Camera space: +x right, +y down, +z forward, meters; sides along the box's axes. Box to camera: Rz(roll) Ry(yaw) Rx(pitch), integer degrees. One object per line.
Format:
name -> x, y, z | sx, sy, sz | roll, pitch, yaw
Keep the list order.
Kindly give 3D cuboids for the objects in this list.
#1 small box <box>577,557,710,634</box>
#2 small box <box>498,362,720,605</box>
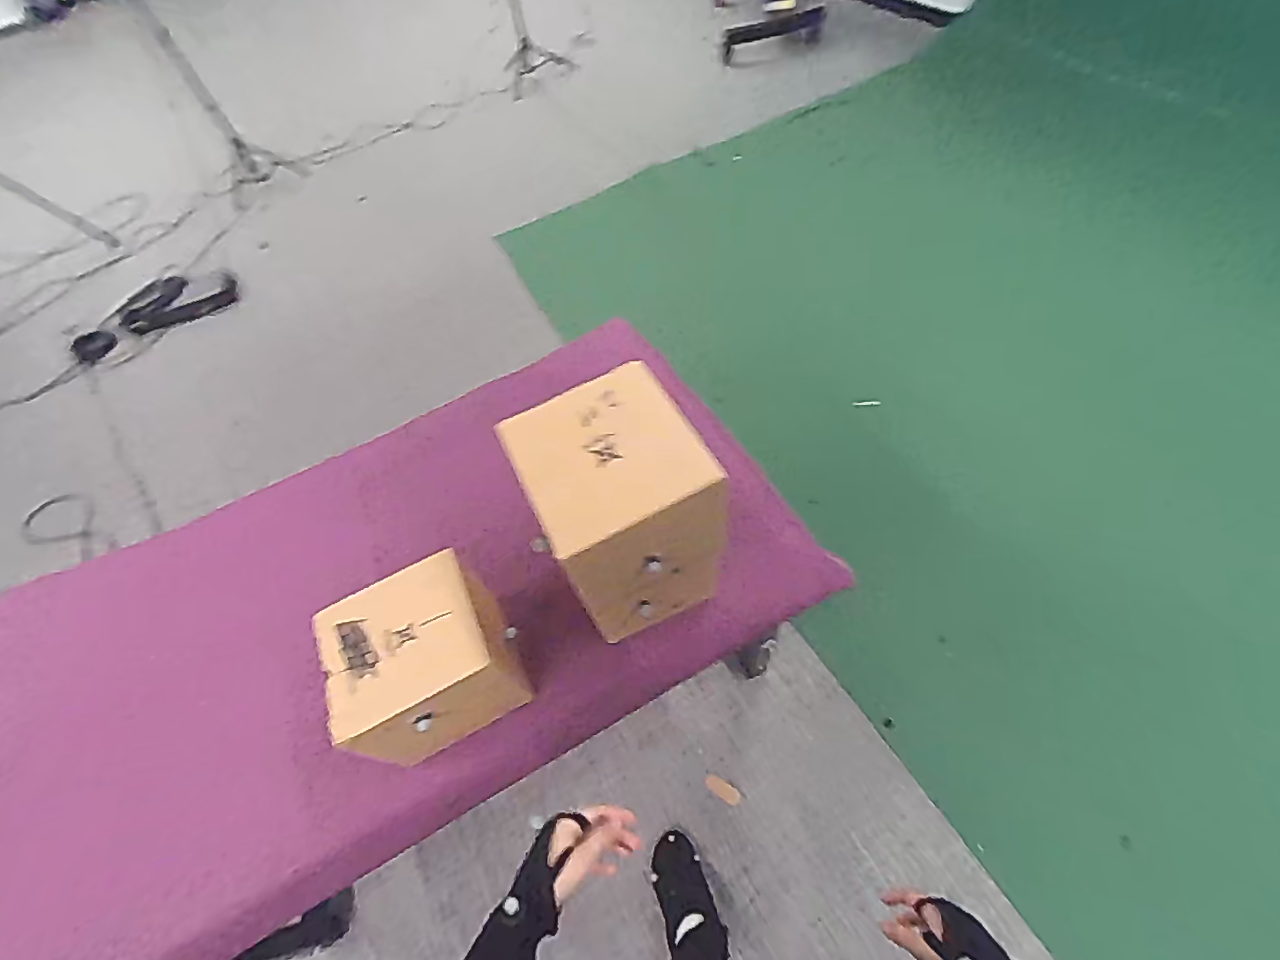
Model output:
small box -> -0.012, 0.089, 0.728 | 0.168, 0.176, 0.179 | -24, 57, -7
small box -> -0.025, 0.014, 0.580 | 0.168, 0.176, 0.179 | -26, 58, -9
